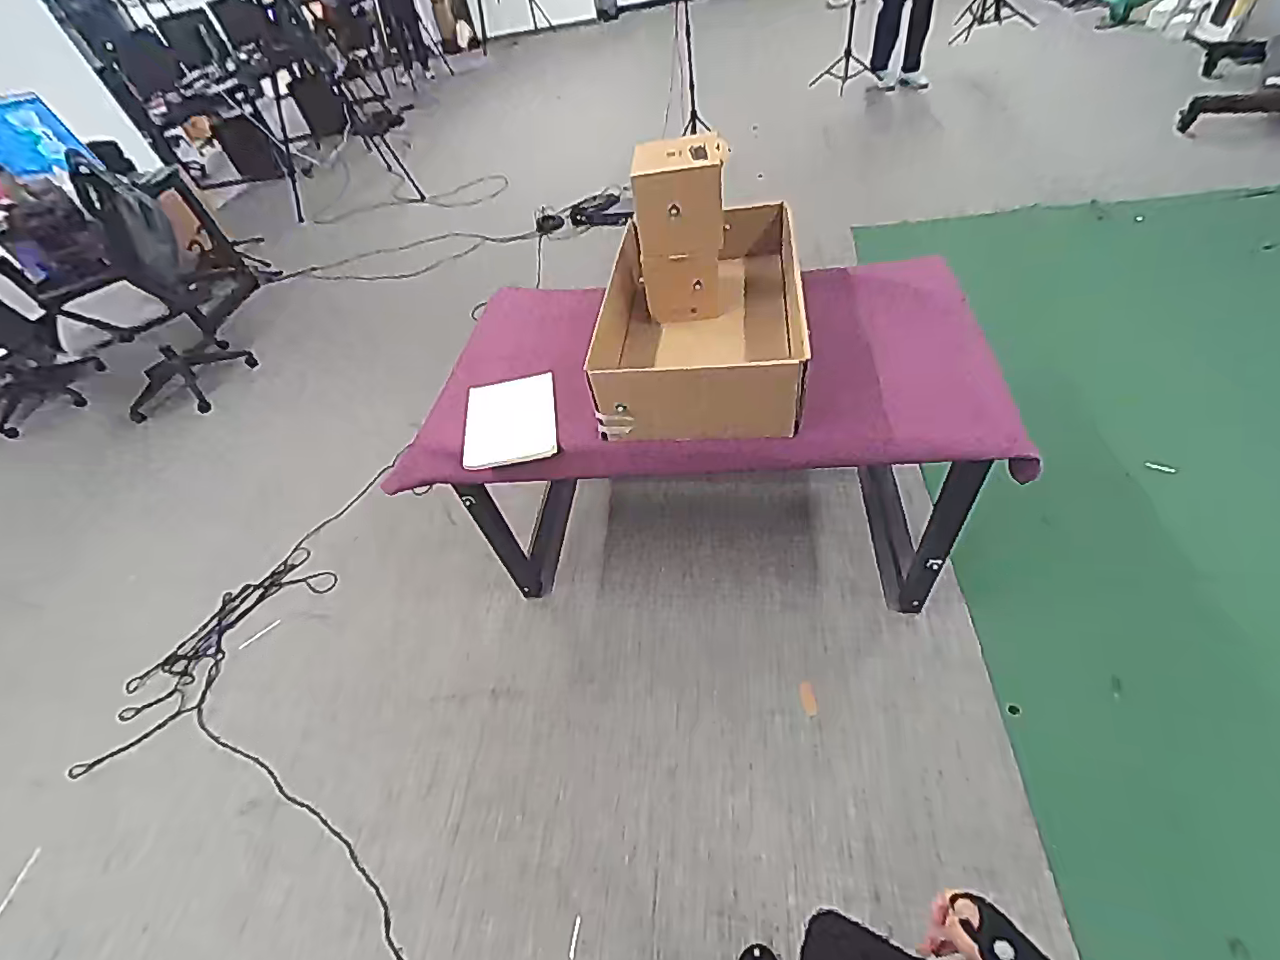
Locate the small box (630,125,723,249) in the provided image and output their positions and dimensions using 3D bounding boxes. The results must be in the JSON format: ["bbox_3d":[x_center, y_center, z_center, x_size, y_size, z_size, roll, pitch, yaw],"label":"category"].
[{"bbox_3d":[0.084,-0.604,1.123,0.179,0.176,0.168,-3,51,9],"label":"small box"}]
